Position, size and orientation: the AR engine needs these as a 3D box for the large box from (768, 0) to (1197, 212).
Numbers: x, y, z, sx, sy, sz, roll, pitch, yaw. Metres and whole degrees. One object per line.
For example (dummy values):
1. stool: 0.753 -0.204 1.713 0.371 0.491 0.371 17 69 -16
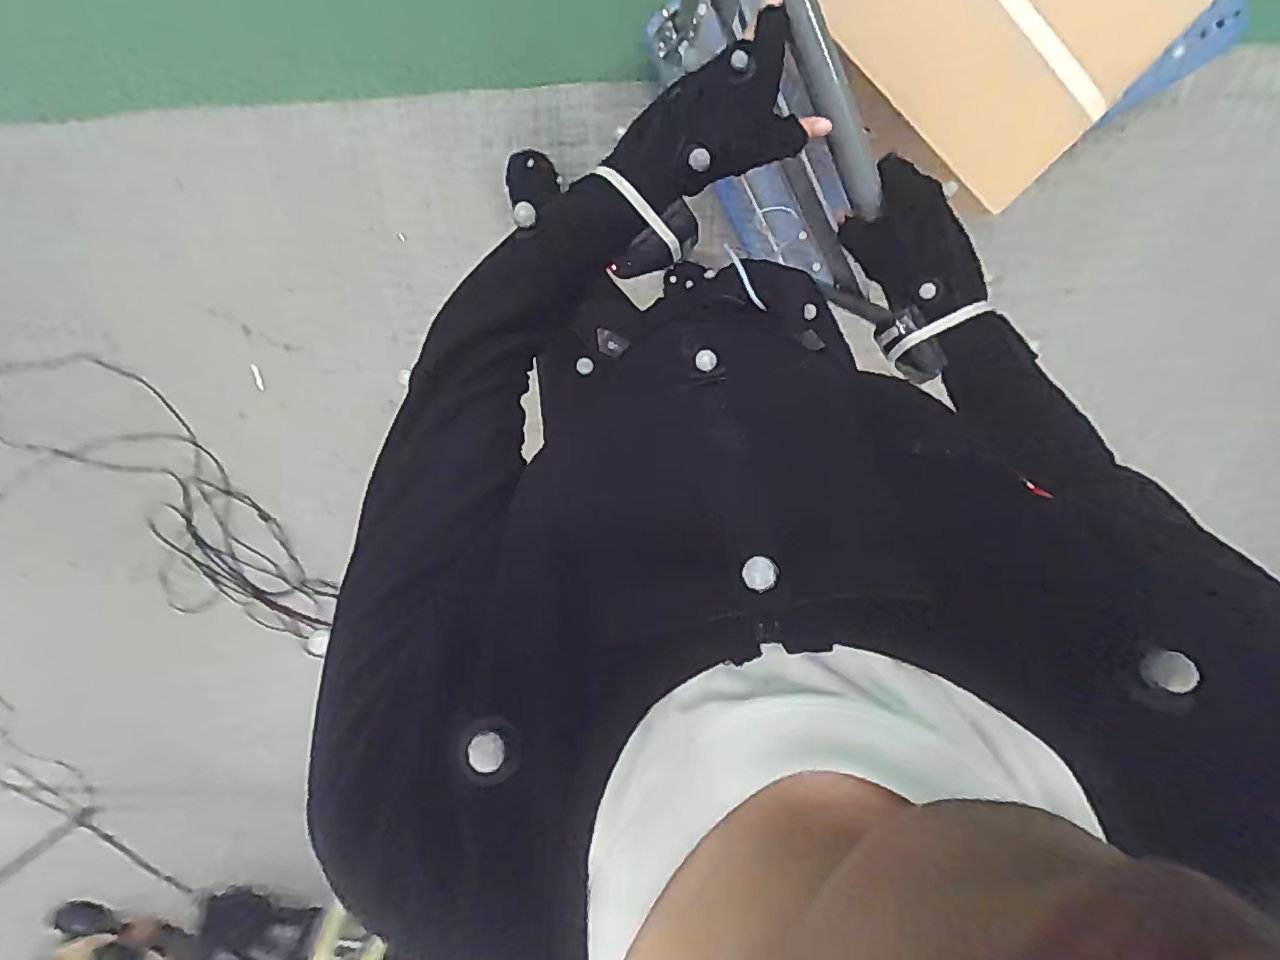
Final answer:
1. large box: 0.458 -0.675 0.816 0.408 0.320 0.320 36 115 -15
